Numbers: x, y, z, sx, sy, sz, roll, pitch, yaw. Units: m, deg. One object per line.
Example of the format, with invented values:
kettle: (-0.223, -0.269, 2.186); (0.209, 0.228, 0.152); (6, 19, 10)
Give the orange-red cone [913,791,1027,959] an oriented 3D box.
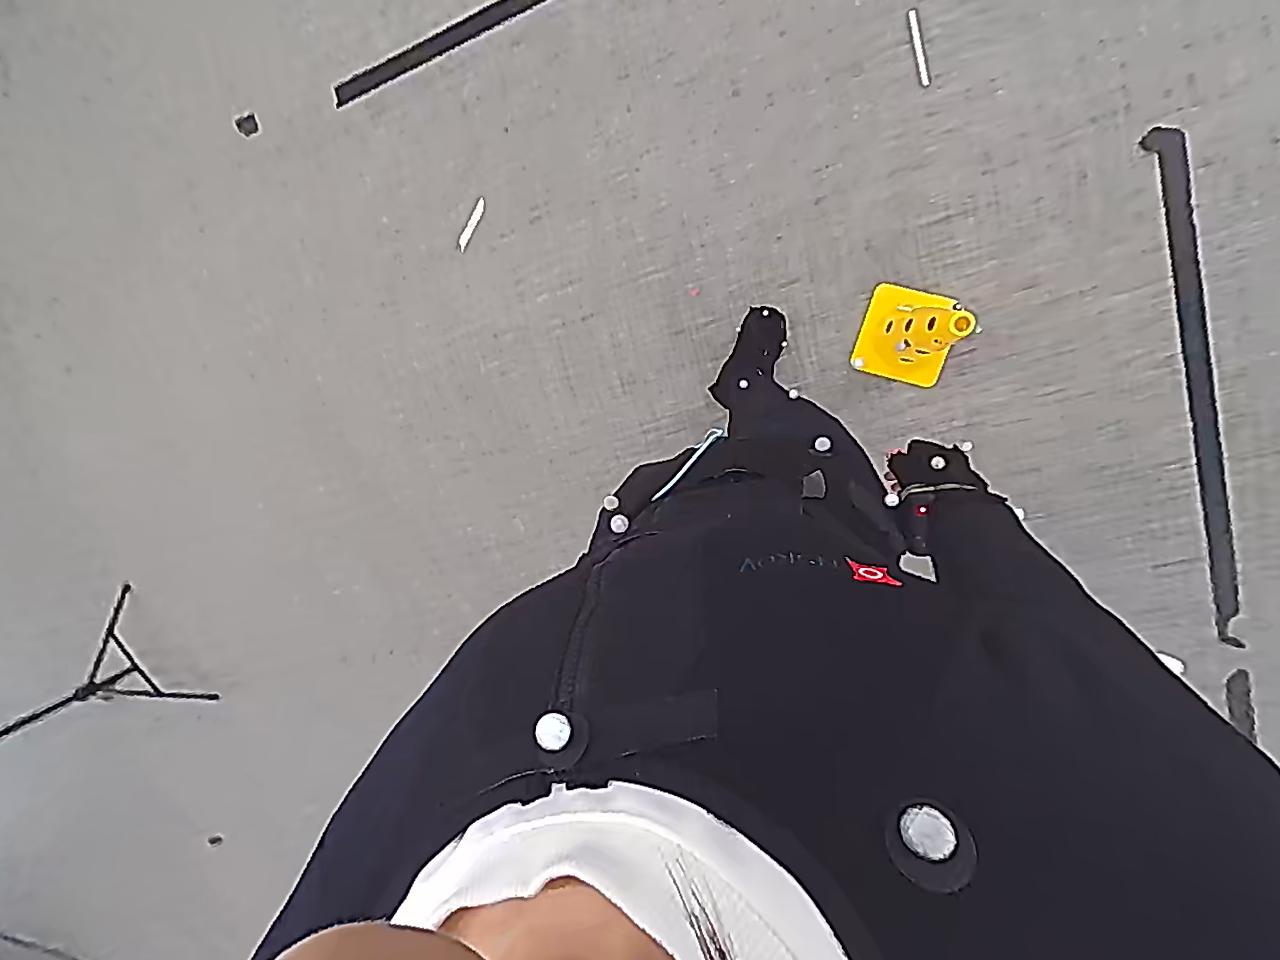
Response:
orange-red cone: (0.815, 0.957, 1.292); (0.198, 0.360, 0.199); (-7, 98, 12)
